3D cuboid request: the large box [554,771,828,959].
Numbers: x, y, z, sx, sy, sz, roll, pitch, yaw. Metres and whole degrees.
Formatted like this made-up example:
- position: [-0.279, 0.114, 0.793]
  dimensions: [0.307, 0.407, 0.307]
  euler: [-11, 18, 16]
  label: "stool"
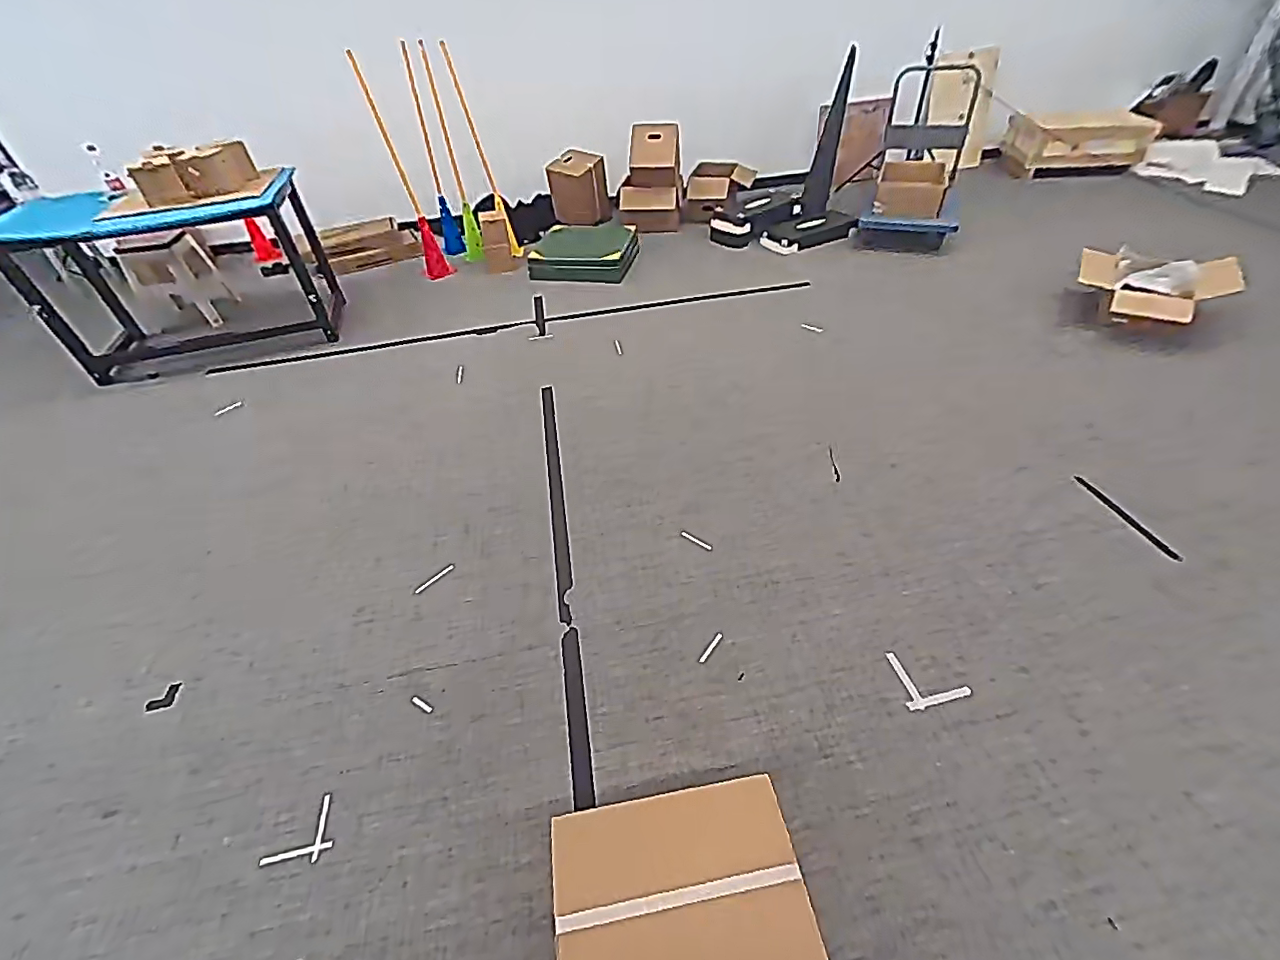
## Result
- position: [0.074, 0.783, 0.976]
  dimensions: [0.408, 0.320, 0.320]
  euler: [-9, 43, -5]
  label: "large box"
